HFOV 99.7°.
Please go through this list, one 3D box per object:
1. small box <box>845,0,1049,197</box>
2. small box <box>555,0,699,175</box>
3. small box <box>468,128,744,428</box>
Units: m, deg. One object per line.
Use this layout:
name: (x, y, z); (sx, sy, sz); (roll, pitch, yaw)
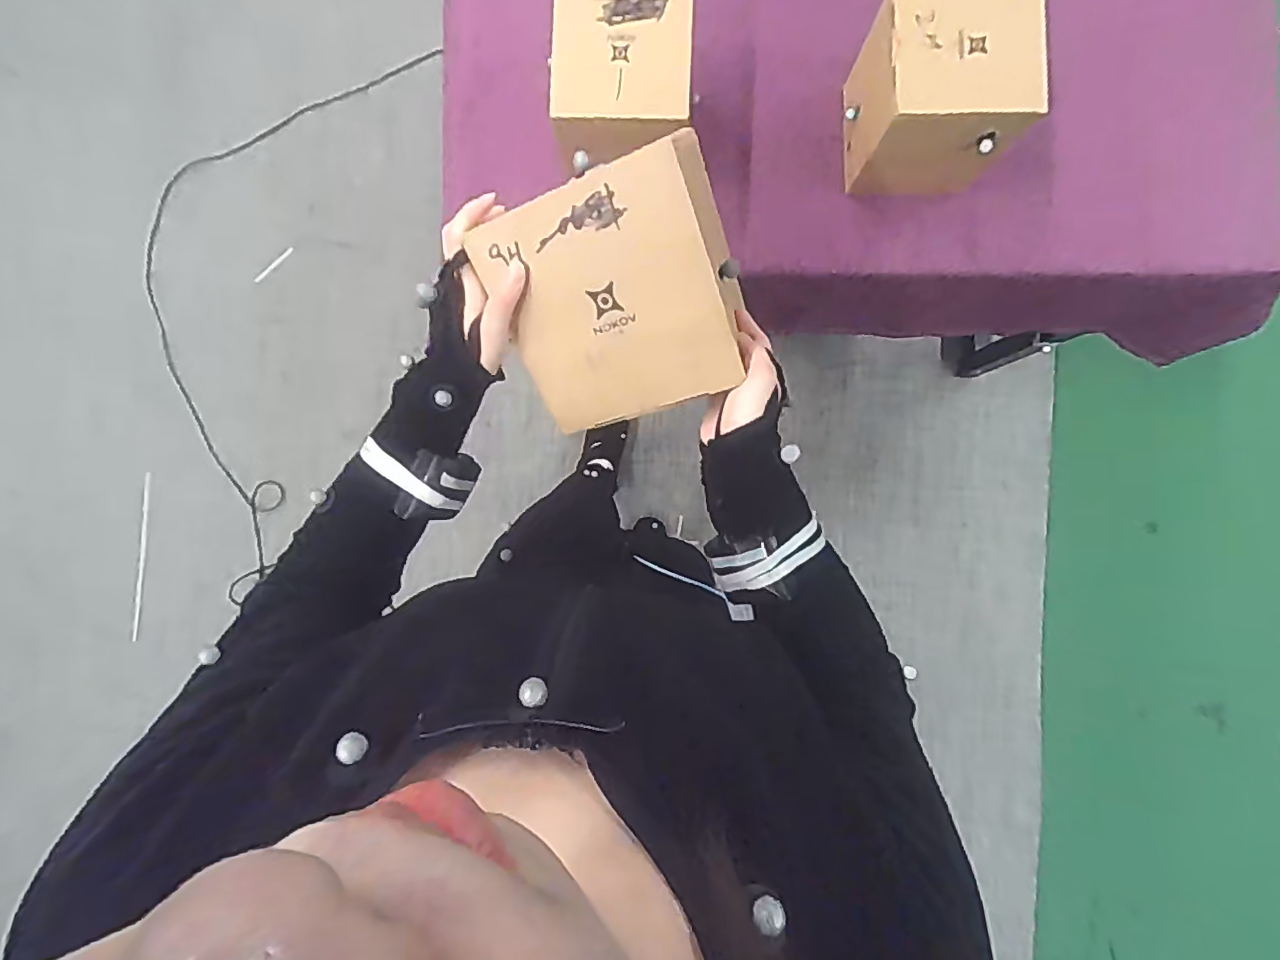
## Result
small box: (0.385, -0.493, 0.702); (0.179, 0.176, 0.168); (1, 87, 2)
small box: (-0.014, -0.504, 0.716); (0.168, 0.176, 0.179); (2, 89, 2)
small box: (-0.008, -0.176, 0.471); (0.168, 0.176, 0.179); (-14, 122, 19)
